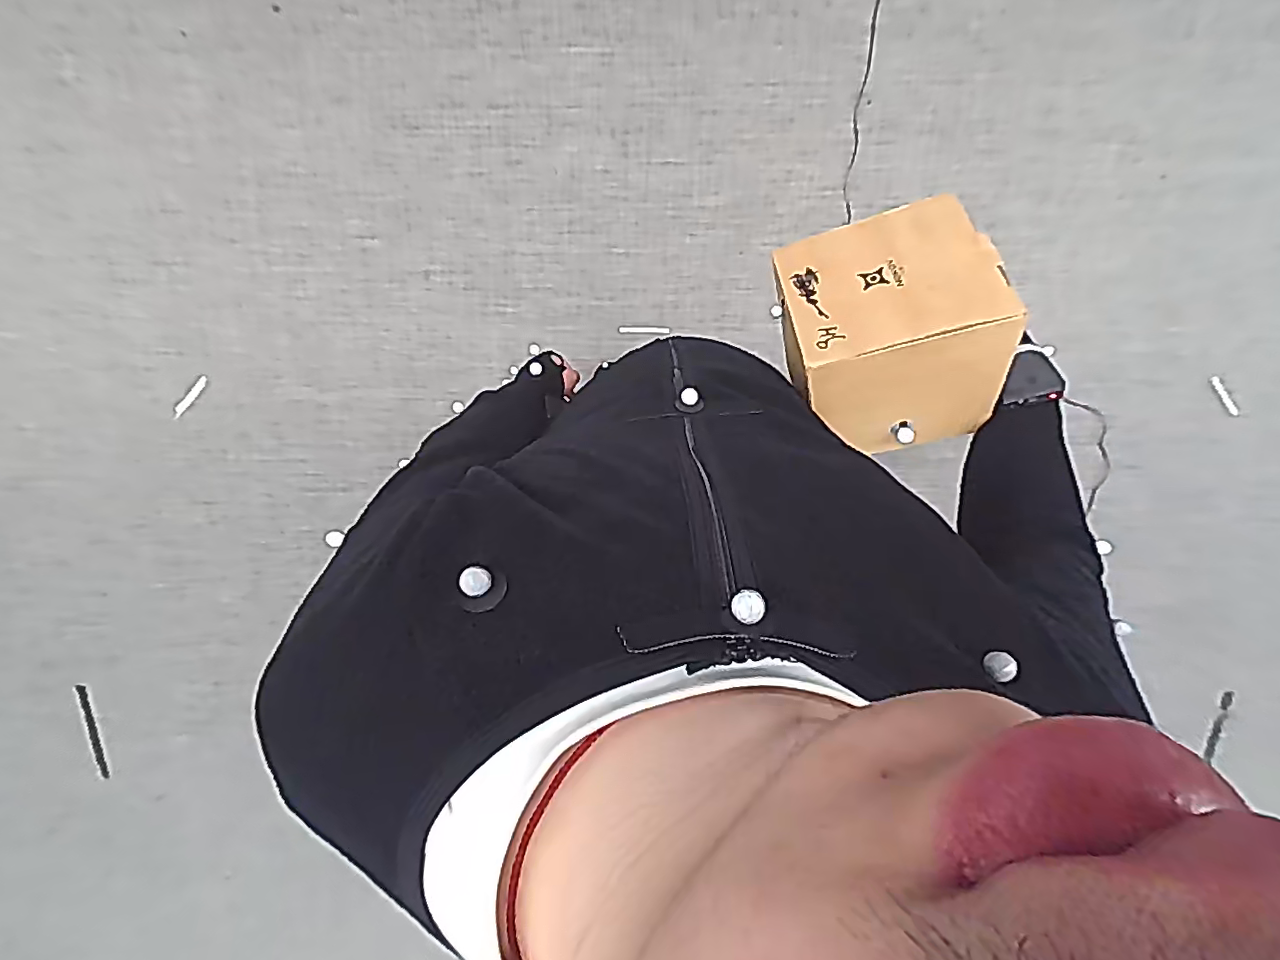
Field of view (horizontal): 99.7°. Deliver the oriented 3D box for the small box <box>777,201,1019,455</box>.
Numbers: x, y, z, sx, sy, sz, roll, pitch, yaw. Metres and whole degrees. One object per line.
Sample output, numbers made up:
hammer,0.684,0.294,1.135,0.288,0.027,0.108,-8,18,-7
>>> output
small box,0.253,-0.149,0.573,0.179,0.168,0.176,-12,147,13
